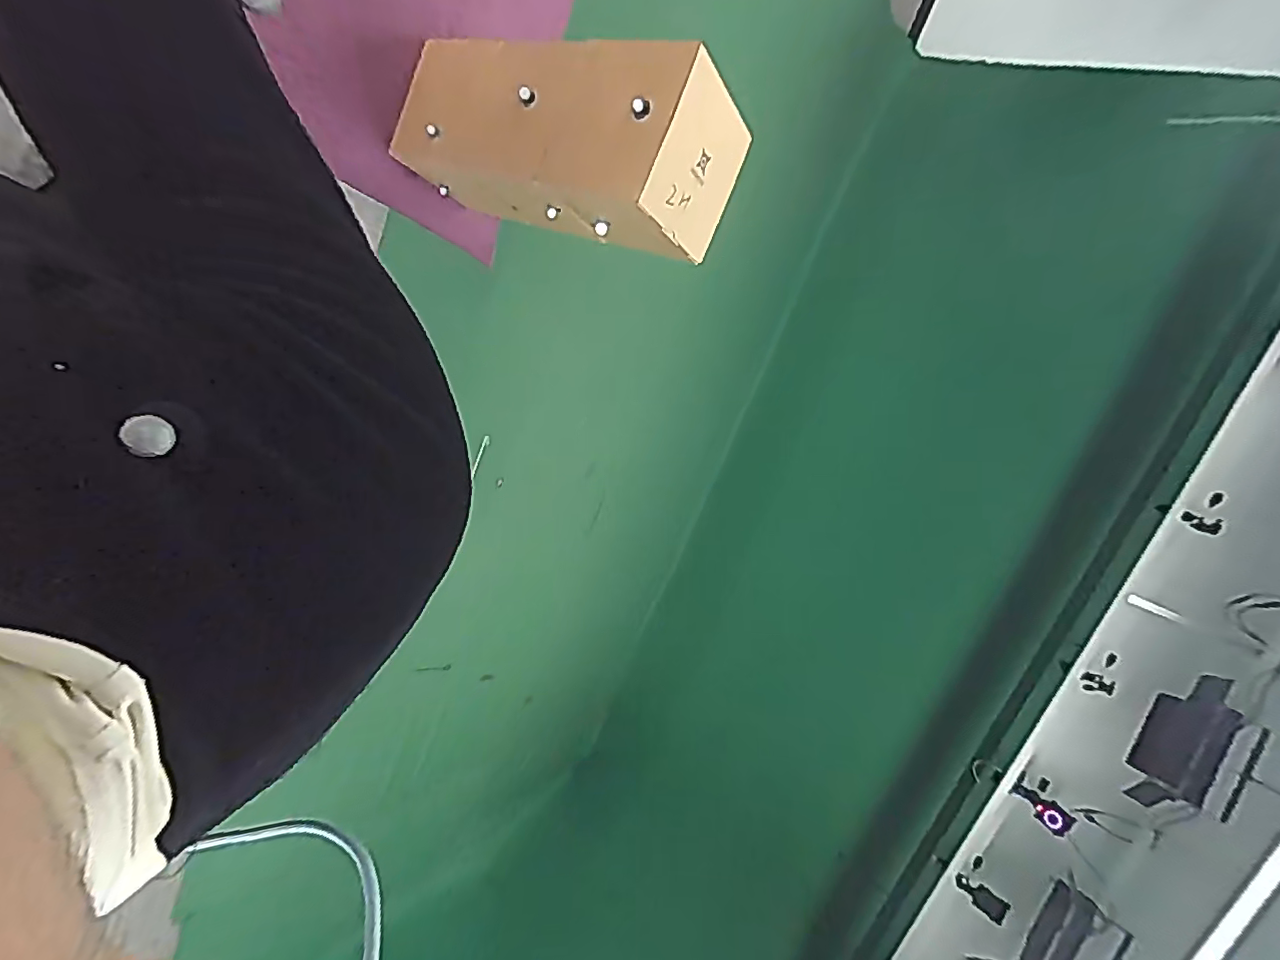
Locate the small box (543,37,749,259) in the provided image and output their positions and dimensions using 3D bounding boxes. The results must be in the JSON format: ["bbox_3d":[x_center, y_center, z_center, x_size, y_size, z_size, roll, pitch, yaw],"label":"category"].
[{"bbox_3d":[0.006,-0.413,0.682,0.168,0.176,0.179,9,107,-59],"label":"small box"}]

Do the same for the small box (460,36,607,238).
[{"bbox_3d":[-0.122,-0.478,0.763,0.168,0.176,0.179,11,104,-59],"label":"small box"}]
